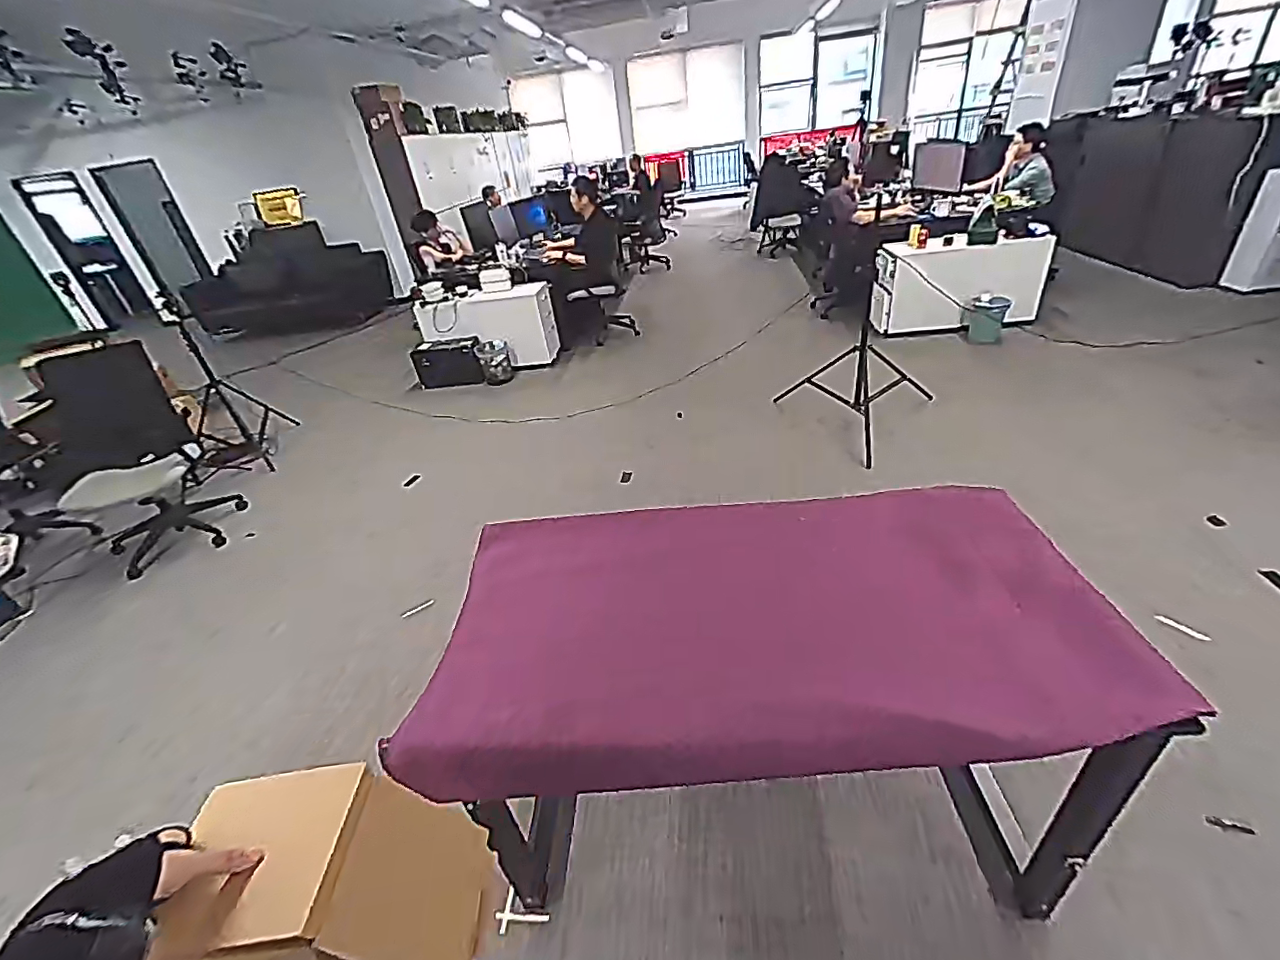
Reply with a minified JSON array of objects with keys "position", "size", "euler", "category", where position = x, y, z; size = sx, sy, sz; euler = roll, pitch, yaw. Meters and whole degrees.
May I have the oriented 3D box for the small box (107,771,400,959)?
[{"position":[-0.378,0.444,0.574],"size":[0.179,0.176,0.168],"euler":[-3,27,-4],"category":"small box"}]
